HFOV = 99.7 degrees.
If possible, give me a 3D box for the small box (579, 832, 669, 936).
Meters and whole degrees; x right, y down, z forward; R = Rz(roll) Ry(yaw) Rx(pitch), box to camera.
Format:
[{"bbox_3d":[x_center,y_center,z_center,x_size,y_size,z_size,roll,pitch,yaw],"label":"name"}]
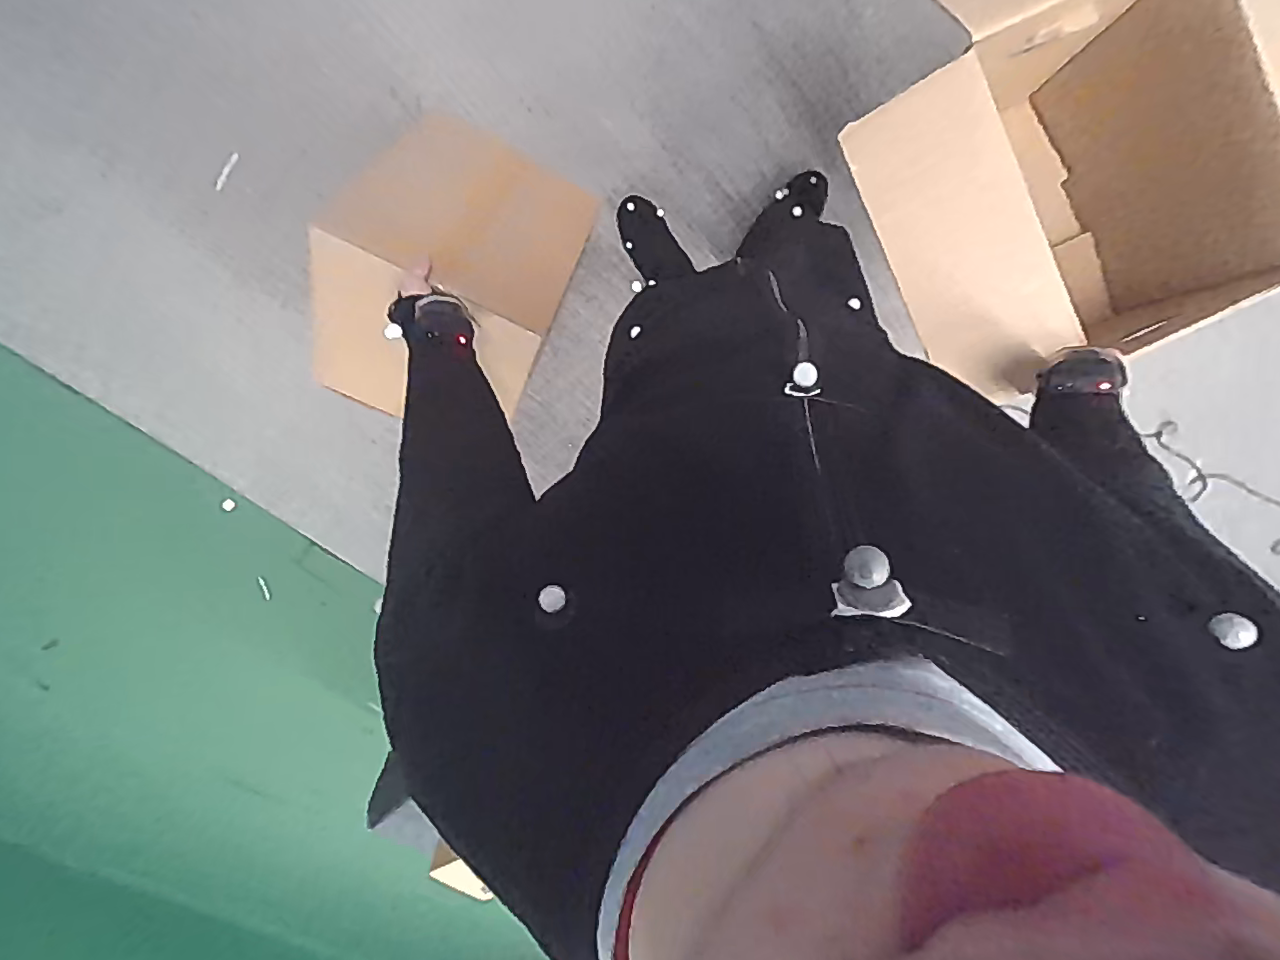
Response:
[{"bbox_3d":[-0.040,1.090,1.470,0.168,0.176,0.179,-38,113,23],"label":"small box"}]
